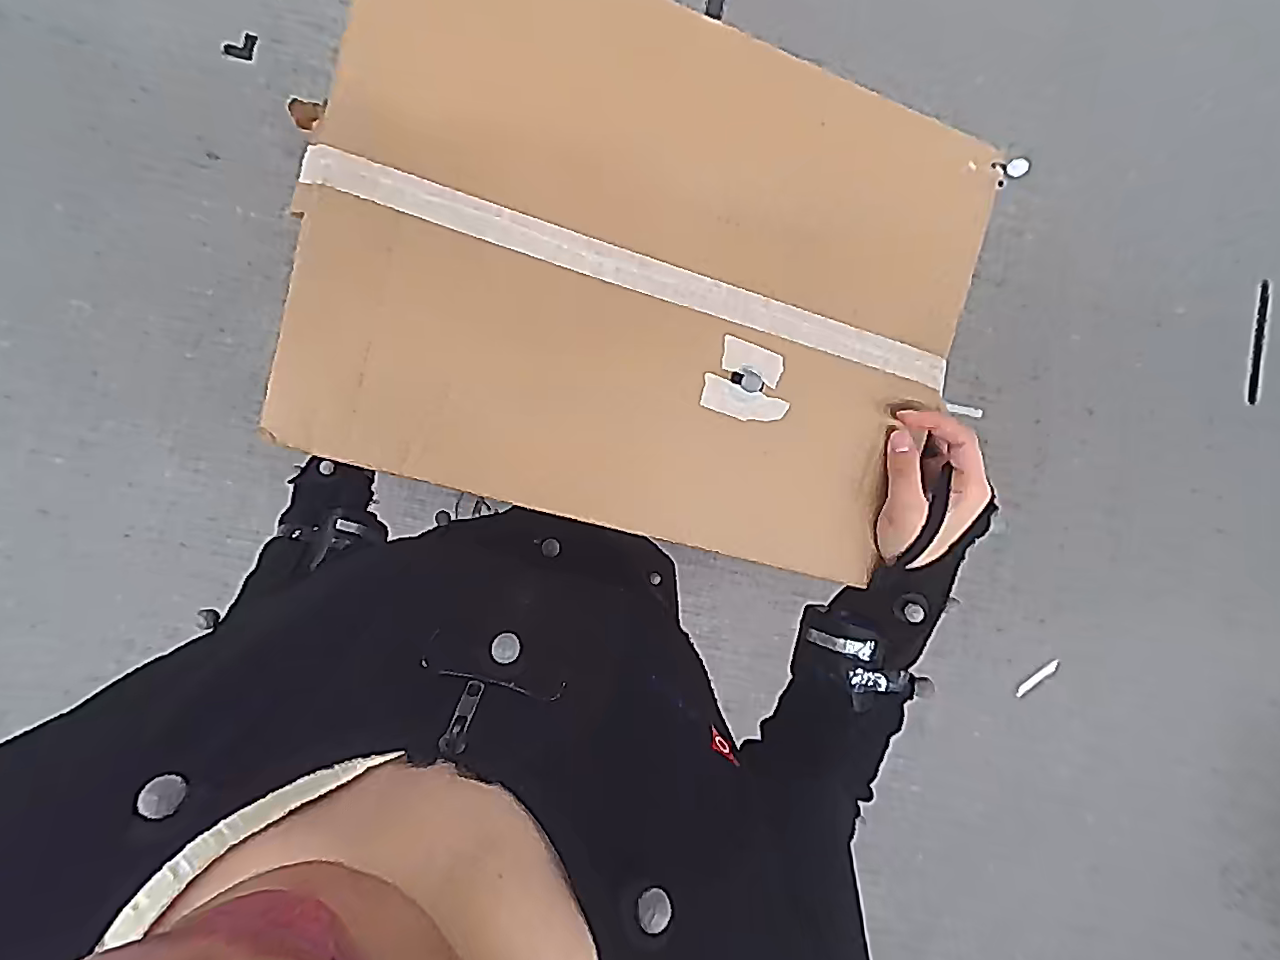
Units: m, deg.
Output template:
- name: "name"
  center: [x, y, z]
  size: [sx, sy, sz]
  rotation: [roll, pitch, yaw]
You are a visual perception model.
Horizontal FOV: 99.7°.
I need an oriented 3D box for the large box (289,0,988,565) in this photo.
- name: "large box"
  center: [-0.010, -0.144, 0.489]
  size: [0.408, 0.320, 0.320]
  rotation: [14, 94, -13]
